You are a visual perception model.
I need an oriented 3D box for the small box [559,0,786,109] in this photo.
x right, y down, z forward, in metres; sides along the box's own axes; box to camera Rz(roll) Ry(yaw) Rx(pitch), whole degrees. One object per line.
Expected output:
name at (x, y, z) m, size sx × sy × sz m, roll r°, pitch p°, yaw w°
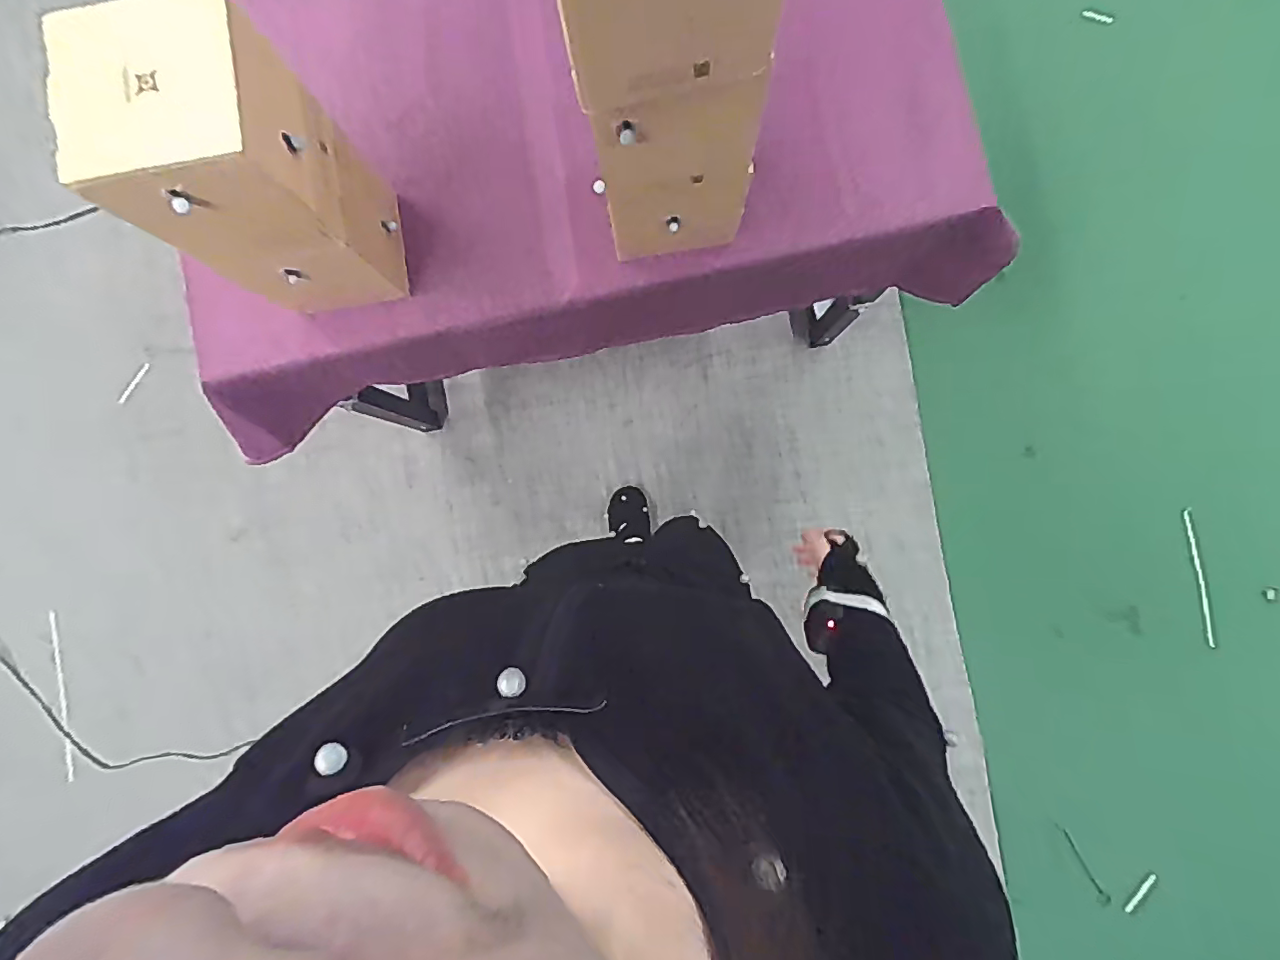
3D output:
small box at (0.012, -0.419, 0.386) m, size 0.168 × 0.176 × 0.179 m, roll -12°, pitch 86°, yaw 3°

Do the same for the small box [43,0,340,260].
small box at (-0.442, -0.354, 0.565) m, size 0.179 × 0.176 × 0.168 m, roll -9°, pitch 87°, yaw 3°

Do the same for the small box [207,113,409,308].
small box at (-0.441, -0.346, 0.729) m, size 0.179 × 0.176 × 0.168 m, roll -9°, pitch 88°, yaw 1°

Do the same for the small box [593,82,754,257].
small box at (0.040, -0.420, 0.715) m, size 0.179 × 0.176 × 0.168 m, roll -9°, pitch 87°, yaw 3°
